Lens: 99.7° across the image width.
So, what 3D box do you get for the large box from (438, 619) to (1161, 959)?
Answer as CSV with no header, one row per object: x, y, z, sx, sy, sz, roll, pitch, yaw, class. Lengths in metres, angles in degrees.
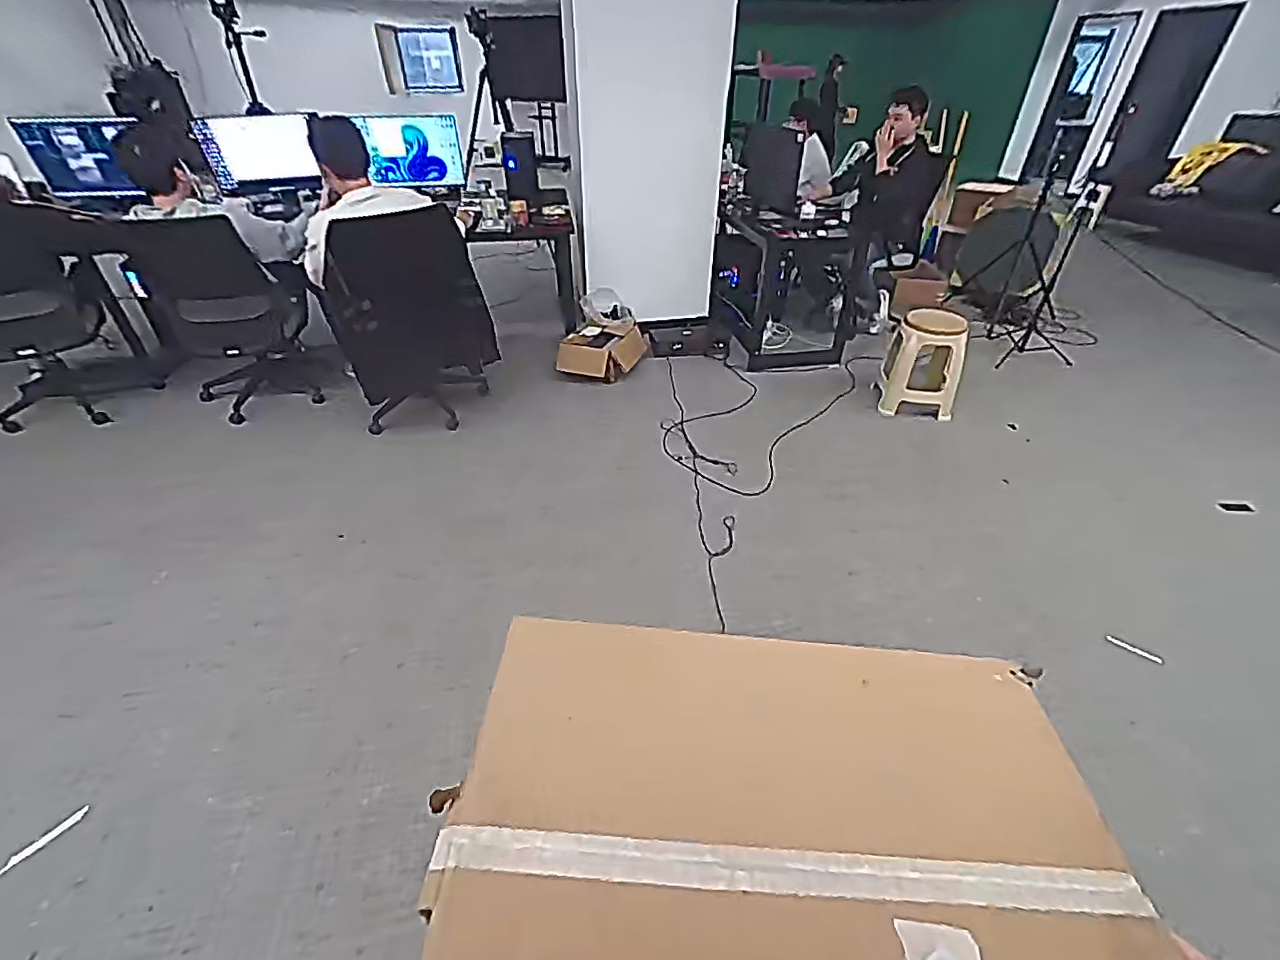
0.079,0.339,0.420,0.408,0.320,0.320,6,41,-2,large box
